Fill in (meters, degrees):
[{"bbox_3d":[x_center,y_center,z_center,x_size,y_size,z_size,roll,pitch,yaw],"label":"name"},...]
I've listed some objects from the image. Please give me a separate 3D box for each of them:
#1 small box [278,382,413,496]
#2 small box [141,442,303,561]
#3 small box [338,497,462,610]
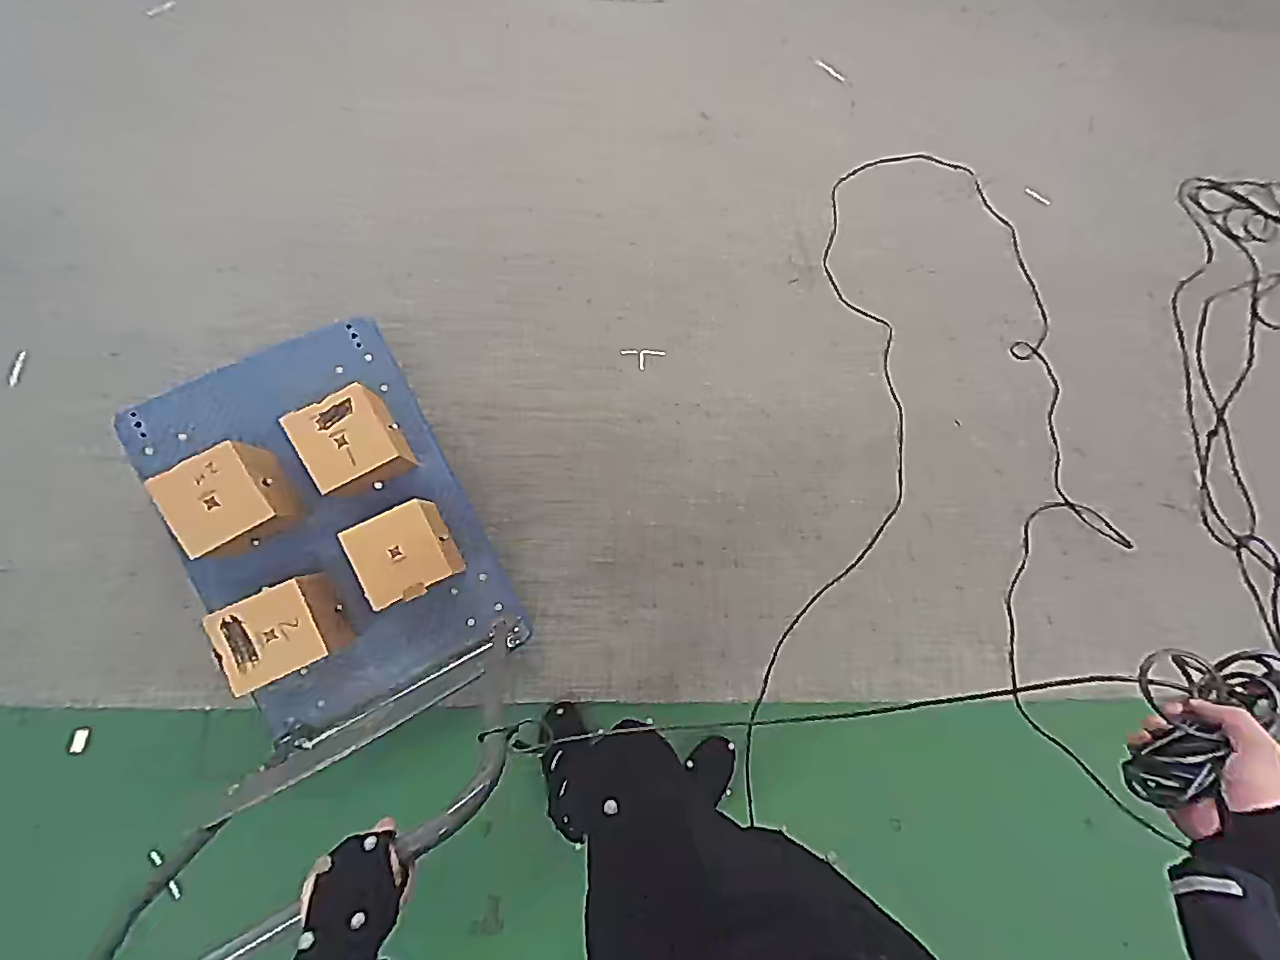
[{"bbox_3d":[-0.614,-0.079,1.151,0.168,0.176,0.179,-30,91,-11],"label":"small box"},{"bbox_3d":[-0.832,0.045,1.100,0.168,0.176,0.179,-32,91,-12],"label":"small box"},{"bbox_3d":[-0.499,0.153,1.152,0.168,0.176,0.179,-27,91,-11],"label":"small box"}]
